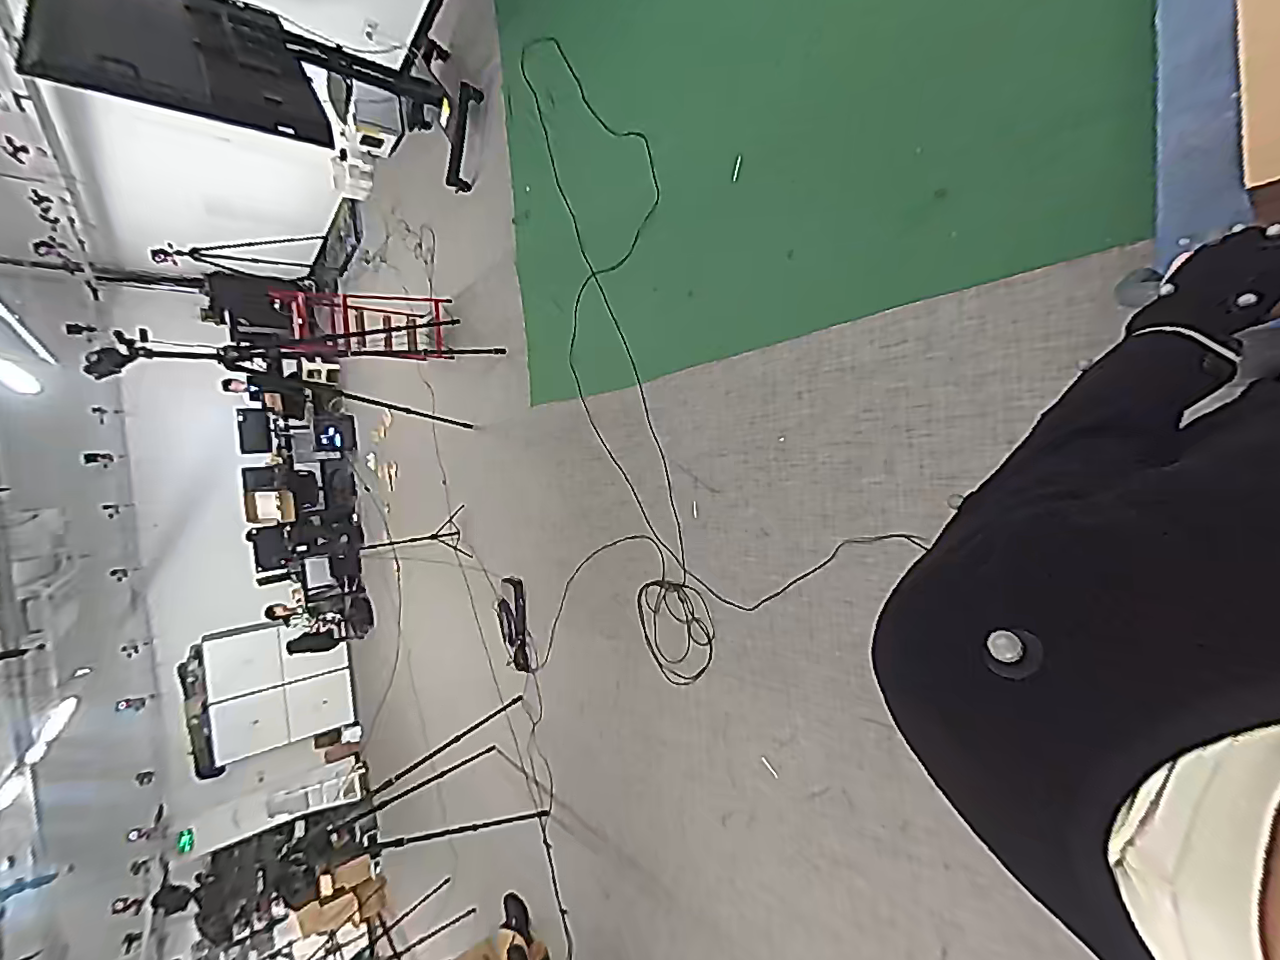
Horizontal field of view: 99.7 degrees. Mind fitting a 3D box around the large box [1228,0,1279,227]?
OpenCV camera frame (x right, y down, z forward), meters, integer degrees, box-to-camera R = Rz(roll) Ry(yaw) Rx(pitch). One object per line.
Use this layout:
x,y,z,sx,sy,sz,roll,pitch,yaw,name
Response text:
1.079,-0.641,0.759,0.320,0.320,0.408,-3,93,51,large box
